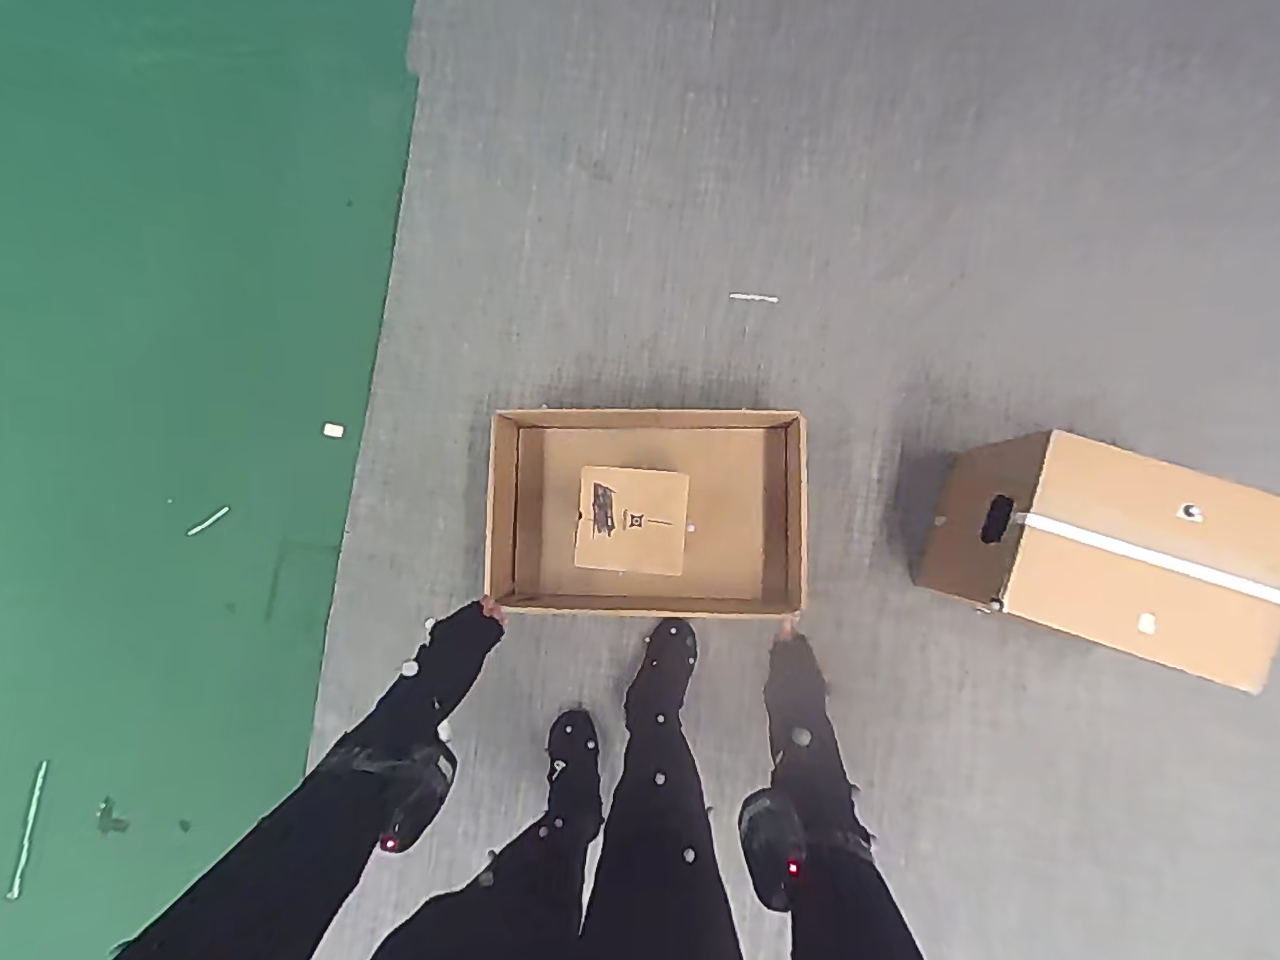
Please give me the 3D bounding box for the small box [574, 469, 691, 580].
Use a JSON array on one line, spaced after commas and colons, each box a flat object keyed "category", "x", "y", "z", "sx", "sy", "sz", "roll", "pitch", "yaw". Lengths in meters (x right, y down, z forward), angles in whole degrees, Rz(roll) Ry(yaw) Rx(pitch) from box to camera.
[{"category": "small box", "x": -0.007, "y": 0.077, "z": 0.939, "sx": 0.179, "sy": 0.176, "sz": 0.168, "roll": 4, "pitch": 86, "yaw": 4}]
